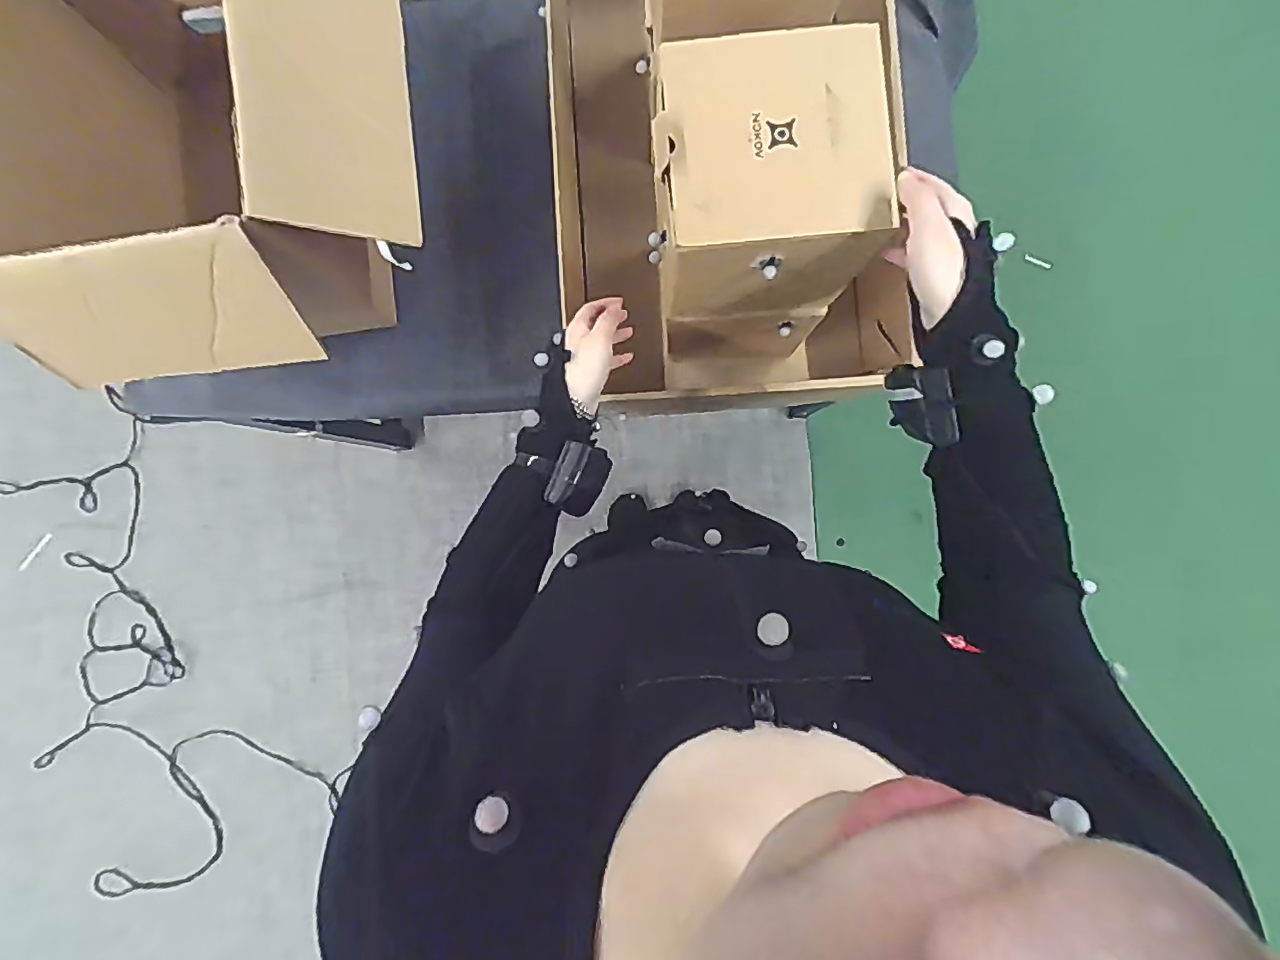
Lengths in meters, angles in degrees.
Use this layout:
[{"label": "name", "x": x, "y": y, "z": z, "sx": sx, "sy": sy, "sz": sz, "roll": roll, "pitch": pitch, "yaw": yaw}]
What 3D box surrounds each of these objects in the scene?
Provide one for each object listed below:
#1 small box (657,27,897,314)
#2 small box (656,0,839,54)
[{"label": "small box", "x": 0.108, "y": -0.263, "z": 0.501, "sx": 0.179, "sy": 0.176, "sz": 0.168, "roll": -5, "pitch": 88, "yaw": 0}, {"label": "small box", "x": 0.098, "y": -0.517, "z": 0.504, "sx": 0.168, "sy": 0.176, "sz": 0.179, "roll": -3, "pitch": 90, "yaw": 1}]
